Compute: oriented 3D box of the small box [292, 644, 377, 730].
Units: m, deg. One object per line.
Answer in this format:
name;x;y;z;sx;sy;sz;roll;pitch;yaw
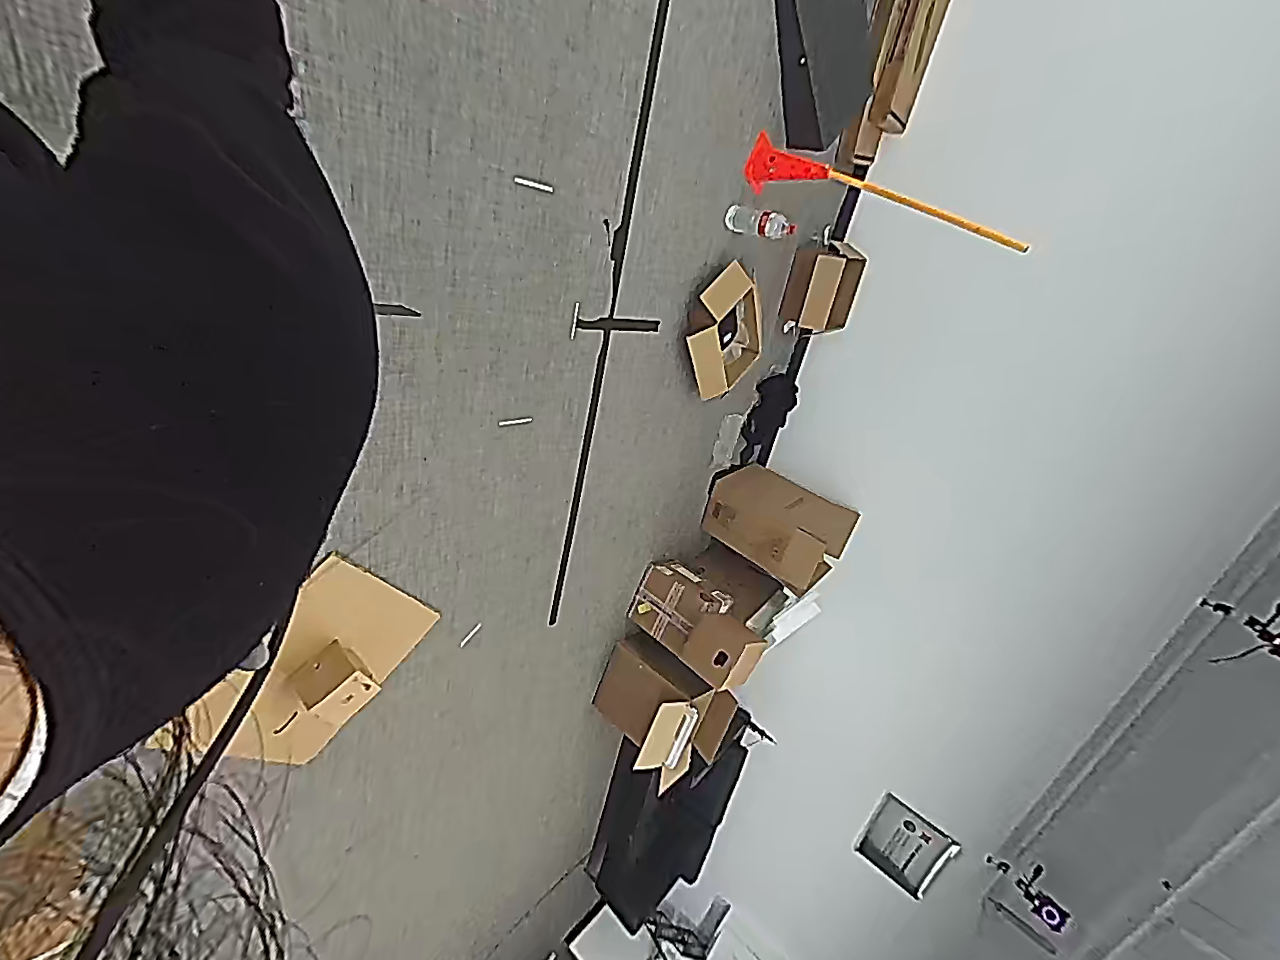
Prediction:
small box;-1.030;0.691;1.813;0.179;0.176;0.168;-41;145;-24
